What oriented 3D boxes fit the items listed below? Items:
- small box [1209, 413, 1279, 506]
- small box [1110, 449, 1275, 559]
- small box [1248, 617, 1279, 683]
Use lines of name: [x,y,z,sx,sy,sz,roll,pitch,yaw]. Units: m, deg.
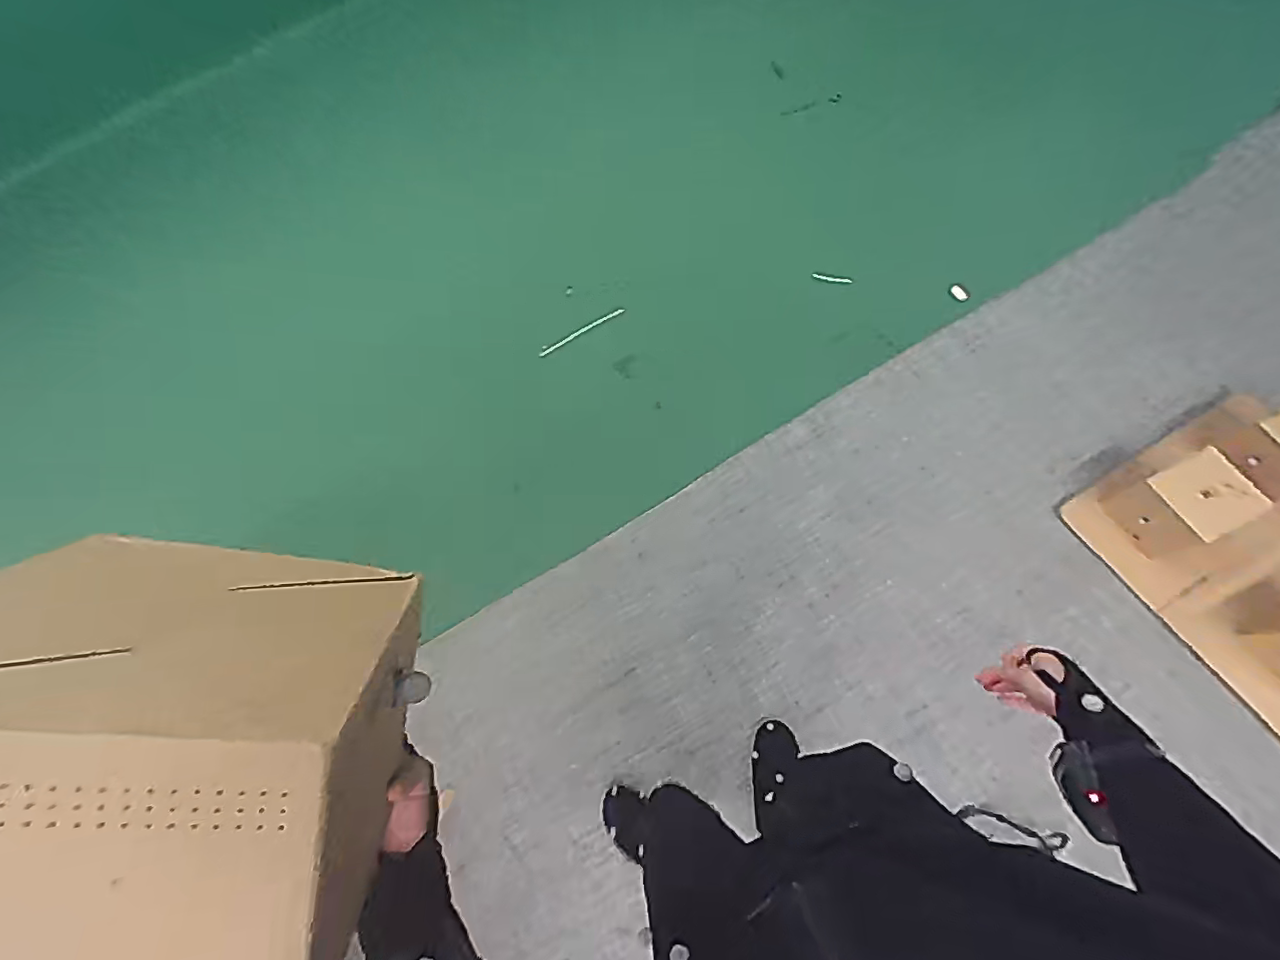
small box: [1.494,-0.055,1.250,0.168,0.176,0.179,-25,67,-2]
small box: [1.242,0.063,1.241,0.179,0.176,0.168,-26,68,-3]
small box: [1.421,0.353,1.096,0.179,0.176,0.168,-27,67,-3]
